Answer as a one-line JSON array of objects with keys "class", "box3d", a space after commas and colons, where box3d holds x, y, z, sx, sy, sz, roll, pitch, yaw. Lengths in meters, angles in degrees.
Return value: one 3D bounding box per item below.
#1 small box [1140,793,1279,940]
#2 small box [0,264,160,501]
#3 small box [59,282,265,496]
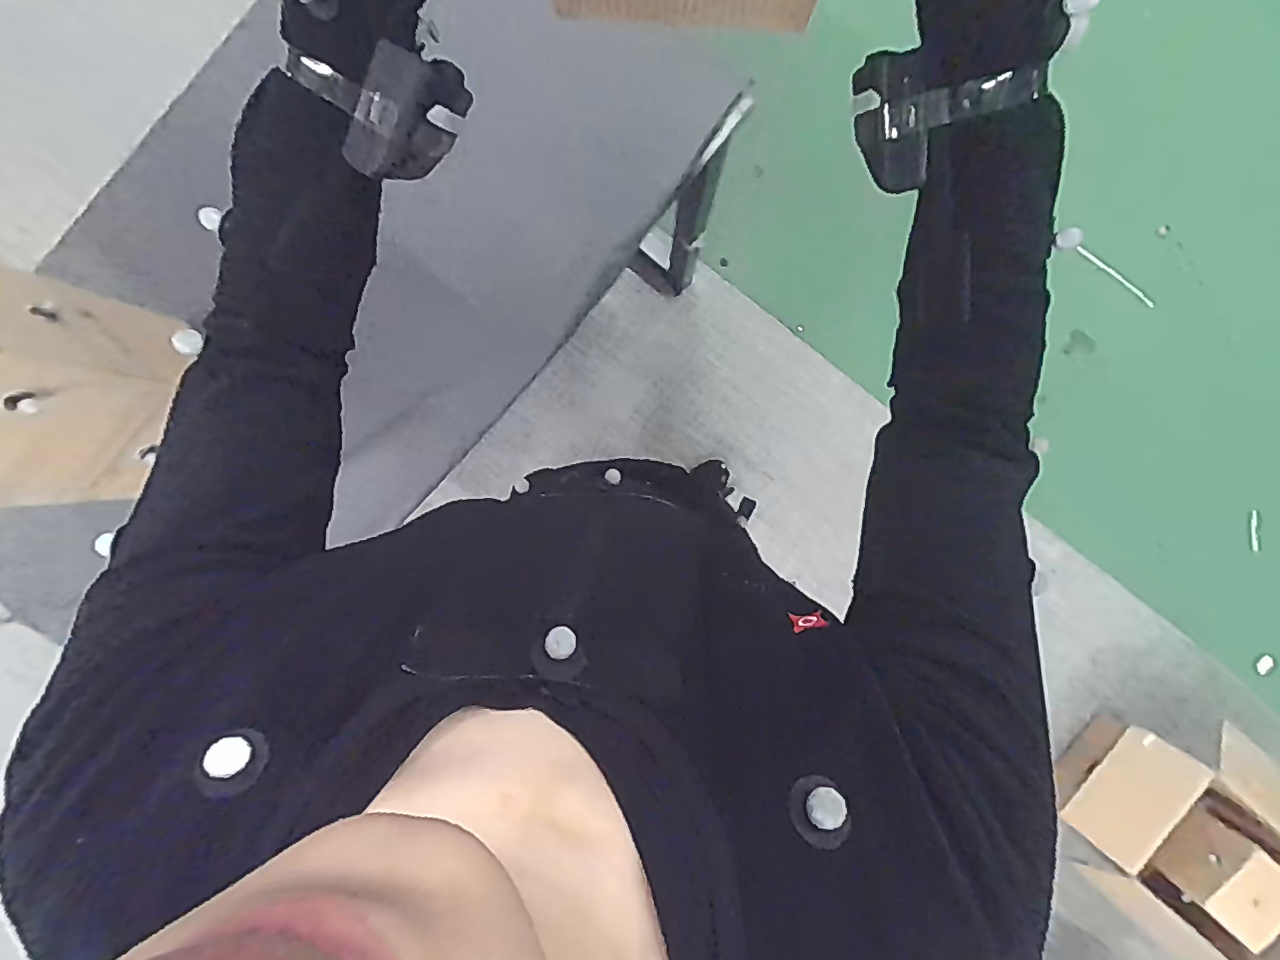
[{"class": "small box", "box3d": [1.329, 0.884, 1.253, 0.168, 0.176, 0.179, 41, 91, -2]}, {"class": "small box", "box3d": [-0.610, -0.096, 0.499, 0.168, 0.176, 0.179, 41, 90, -1]}, {"class": "small box", "box3d": [-0.621, -0.098, 0.664, 0.168, 0.176, 0.179, 42, 89, -1]}]
